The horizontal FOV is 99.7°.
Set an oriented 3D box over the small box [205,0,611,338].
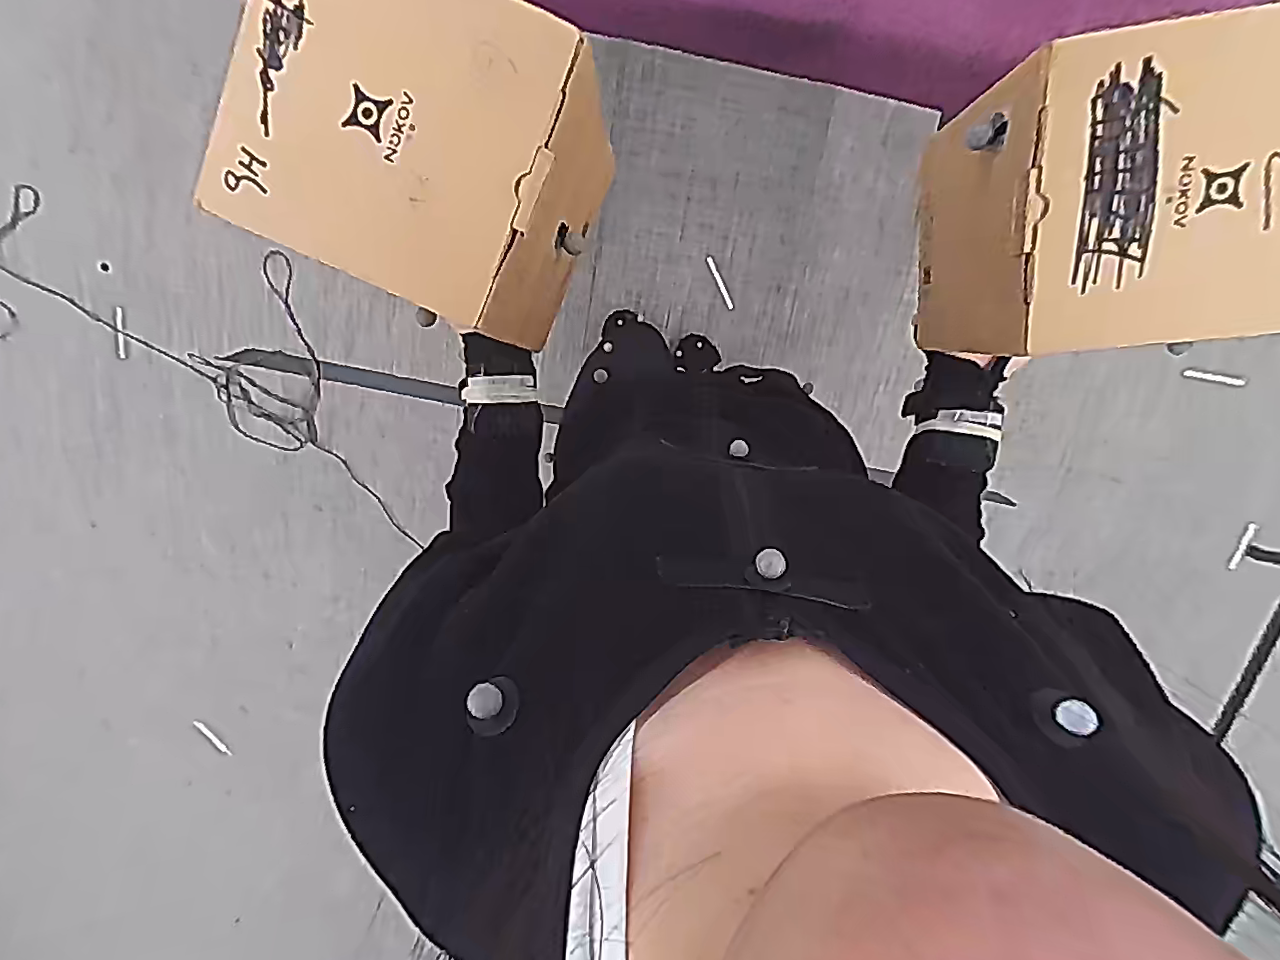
[{"bbox_3d":[-0.130,-0.208,0.371,0.179,0.176,0.168,24,99,-3],"label":"small box"}]
